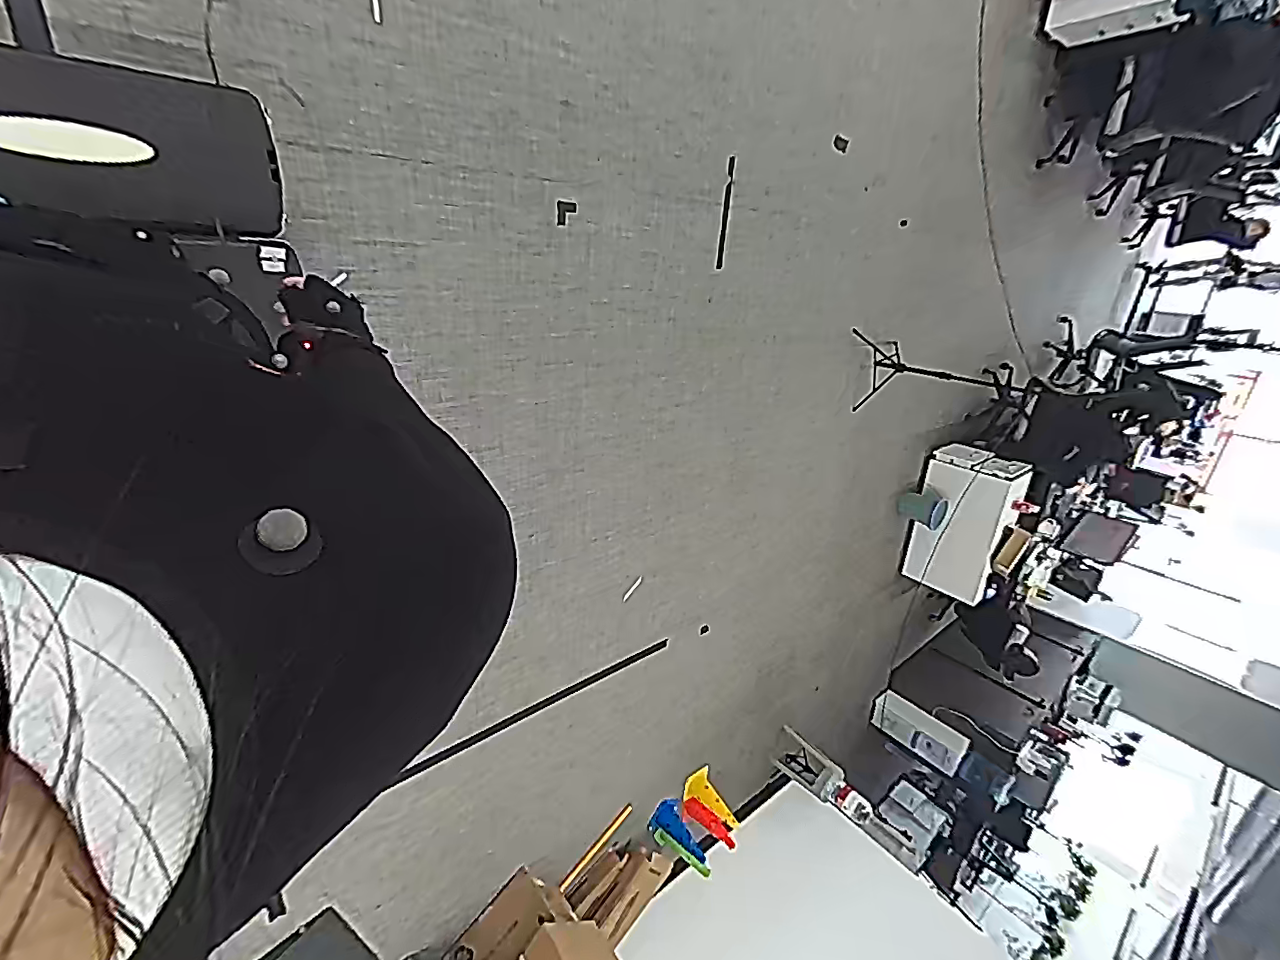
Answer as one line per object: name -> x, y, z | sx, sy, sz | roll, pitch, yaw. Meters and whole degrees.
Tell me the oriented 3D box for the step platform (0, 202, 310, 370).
step platform -> -1.058, -0.383, 1.076 | 0.684, 0.204, 0.286 | -15, 117, -35
